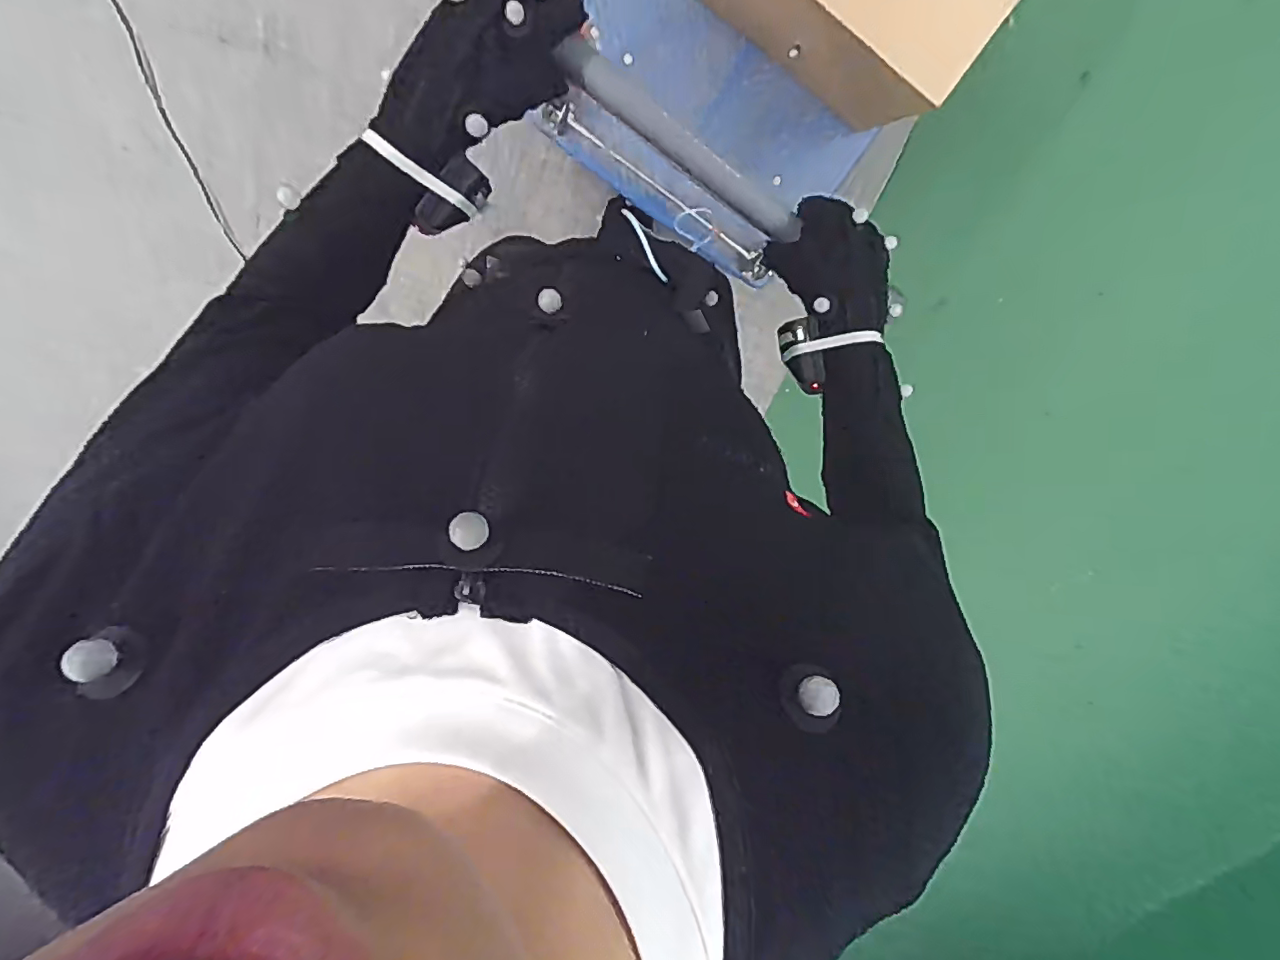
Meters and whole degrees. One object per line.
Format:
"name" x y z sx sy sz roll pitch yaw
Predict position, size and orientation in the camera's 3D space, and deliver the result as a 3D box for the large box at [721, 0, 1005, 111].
"large box" 0.339 -0.828 0.796 0.408 0.320 0.320 28 115 -14
